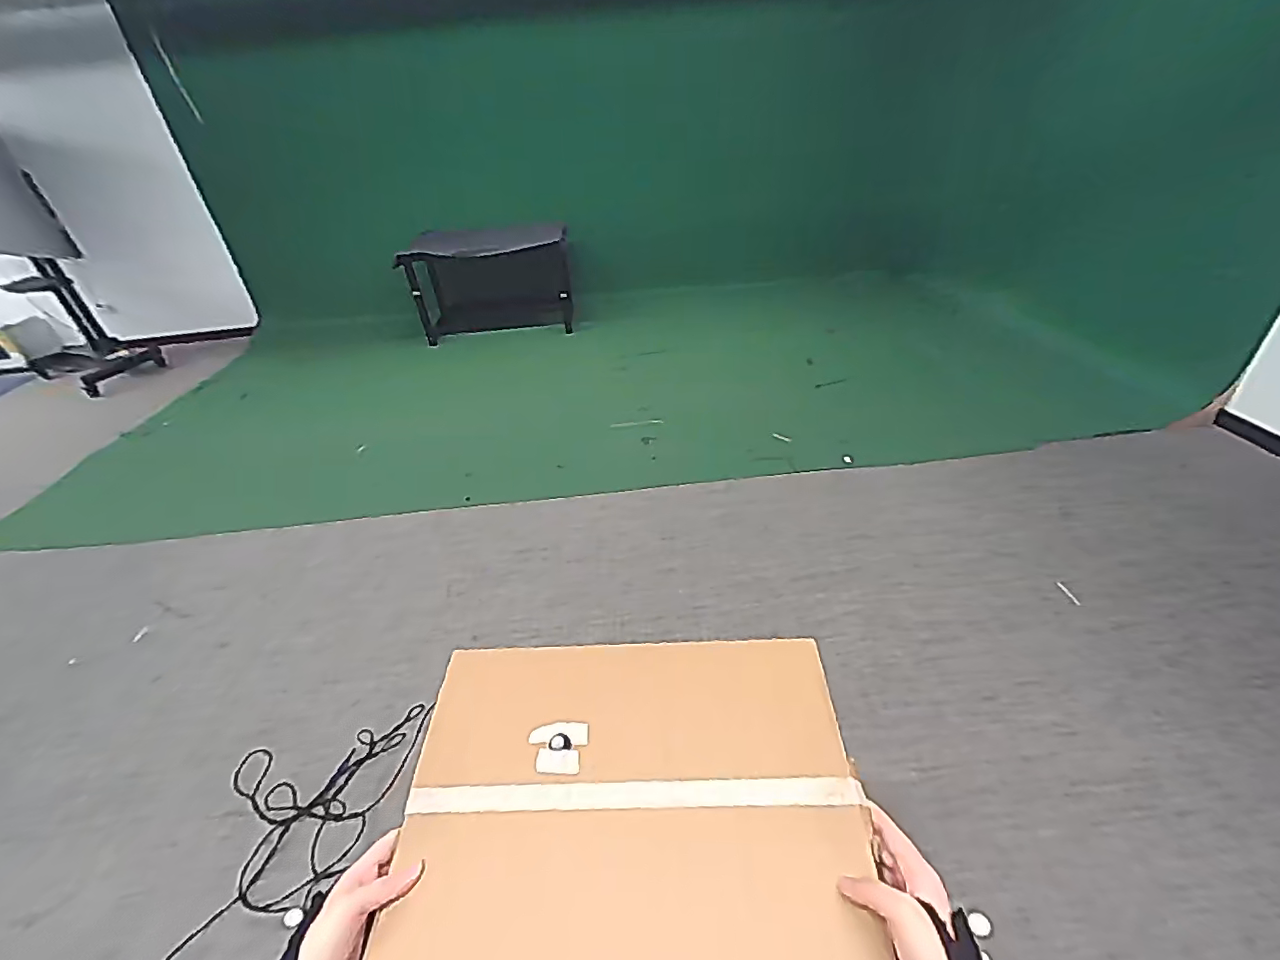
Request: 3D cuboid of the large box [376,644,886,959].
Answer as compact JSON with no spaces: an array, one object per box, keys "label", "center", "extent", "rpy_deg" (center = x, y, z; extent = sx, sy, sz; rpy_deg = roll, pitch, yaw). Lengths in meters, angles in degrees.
[{"label":"large box","center":[0.003,0.408,0.593],"extent":[0.408,0.320,0.320],"rpy_deg":[-4,41,5]}]
